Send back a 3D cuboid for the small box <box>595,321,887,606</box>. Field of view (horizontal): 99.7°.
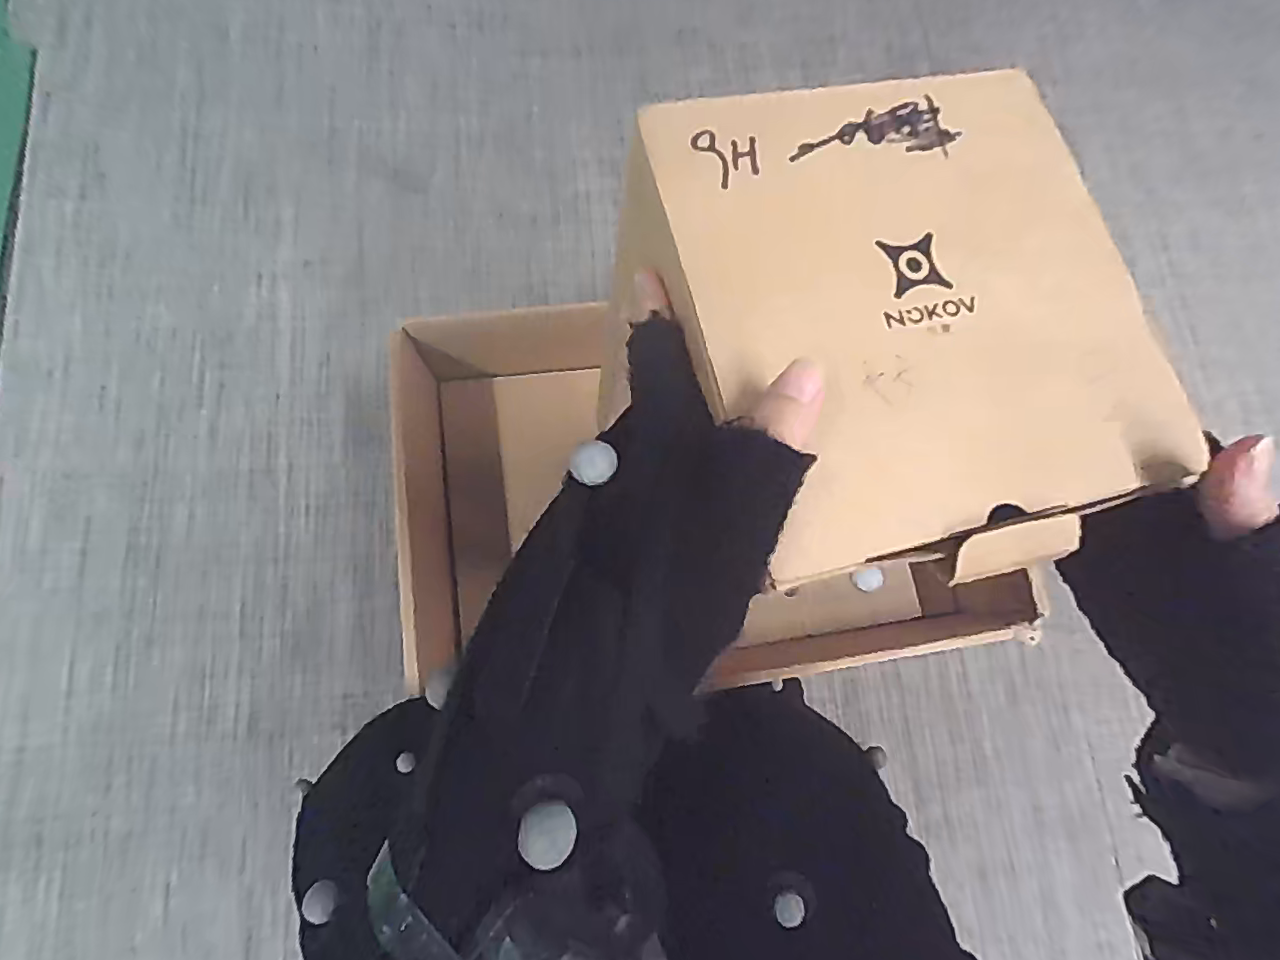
[{"bbox_3d":[0.057,0.000,0.426,0.168,0.176,0.179,-7,77,-9],"label":"small box"}]
